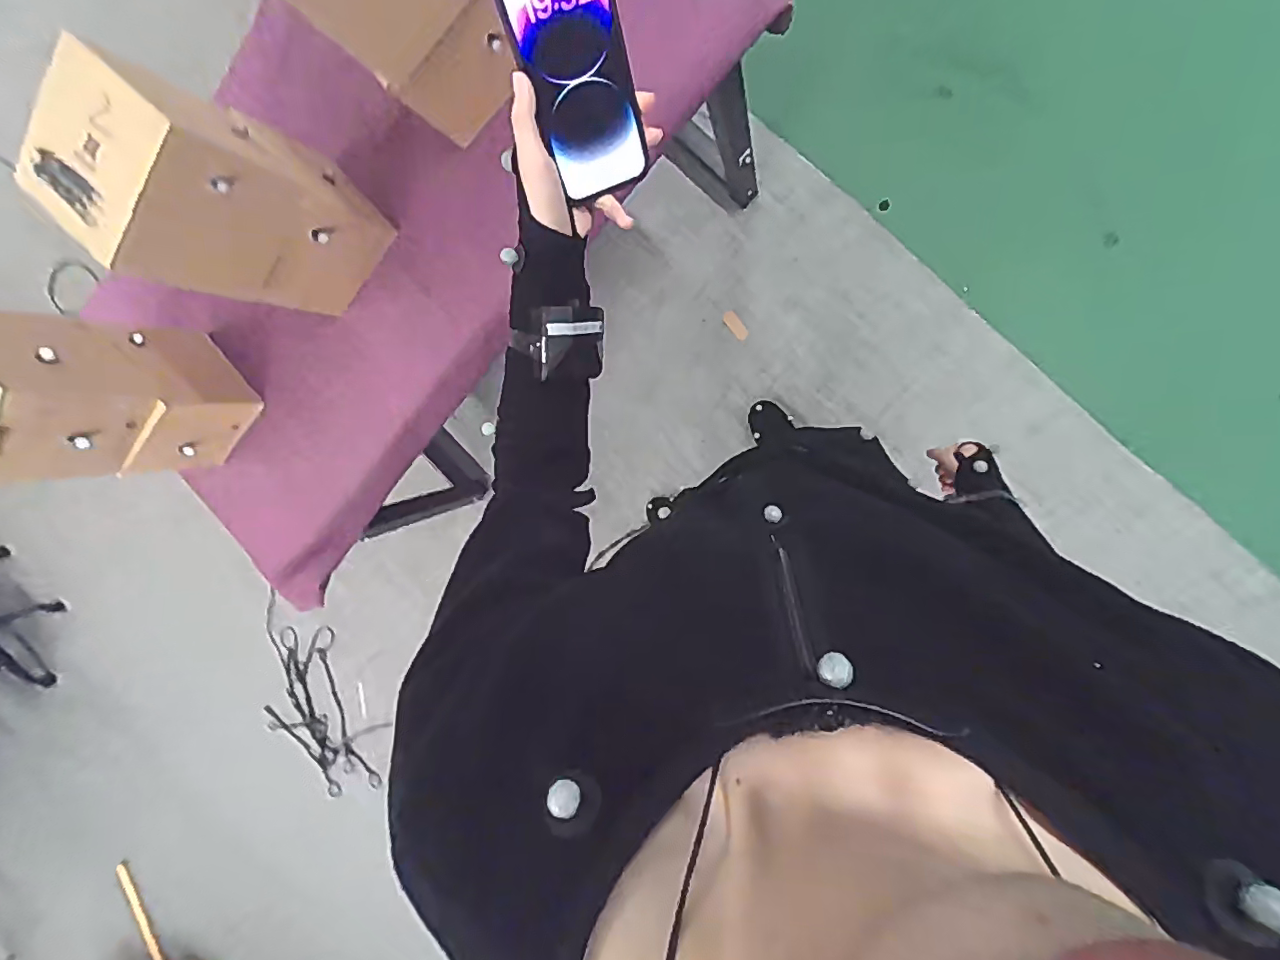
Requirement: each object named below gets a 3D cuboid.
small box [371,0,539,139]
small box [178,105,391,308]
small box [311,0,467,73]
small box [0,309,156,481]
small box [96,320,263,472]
[{"bbox_3d":[-0.253,-0.594,0.693,0.179,0.176,0.168,-37,87,18],"label":"small box"},{"bbox_3d":[-0.501,-0.380,0.789,0.179,0.176,0.168,-43,85,17],"label":"small box"},{"bbox_3d":[-0.281,-0.566,0.533,0.179,0.176,0.168,-37,87,16],"label":"small box"},{"bbox_3d":[-0.836,-0.123,0.747,0.179,0.176,0.168,43,105,5],"label":"small box"},{"bbox_3d":[-0.786,-0.139,0.904,0.168,0.176,0.179,-43,85,17],"label":"small box"}]
